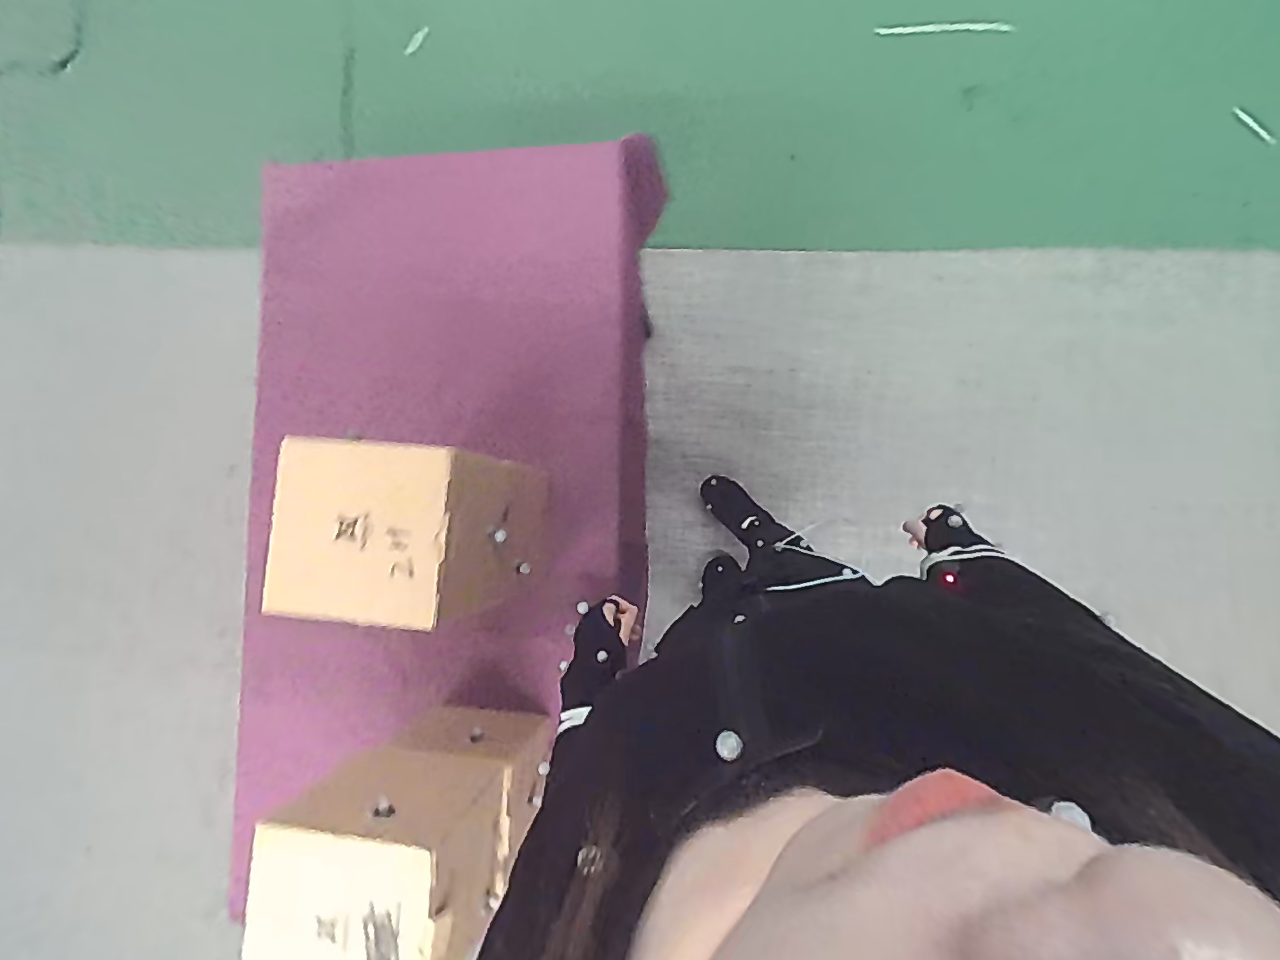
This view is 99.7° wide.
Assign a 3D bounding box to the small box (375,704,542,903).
[{"bbox_3d":[-0.238,0.413,0.720,0.179,0.176,0.168,2,86,6],"label":"small box"}]

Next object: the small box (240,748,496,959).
[{"bbox_3d":[-0.263,0.399,0.558,0.179,0.176,0.168,3,87,7],"label":"small box"}]

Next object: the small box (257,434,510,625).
[{"bbox_3d":[-0.258,0.049,0.580,0.179,0.176,0.168,4,87,6],"label":"small box"}]
